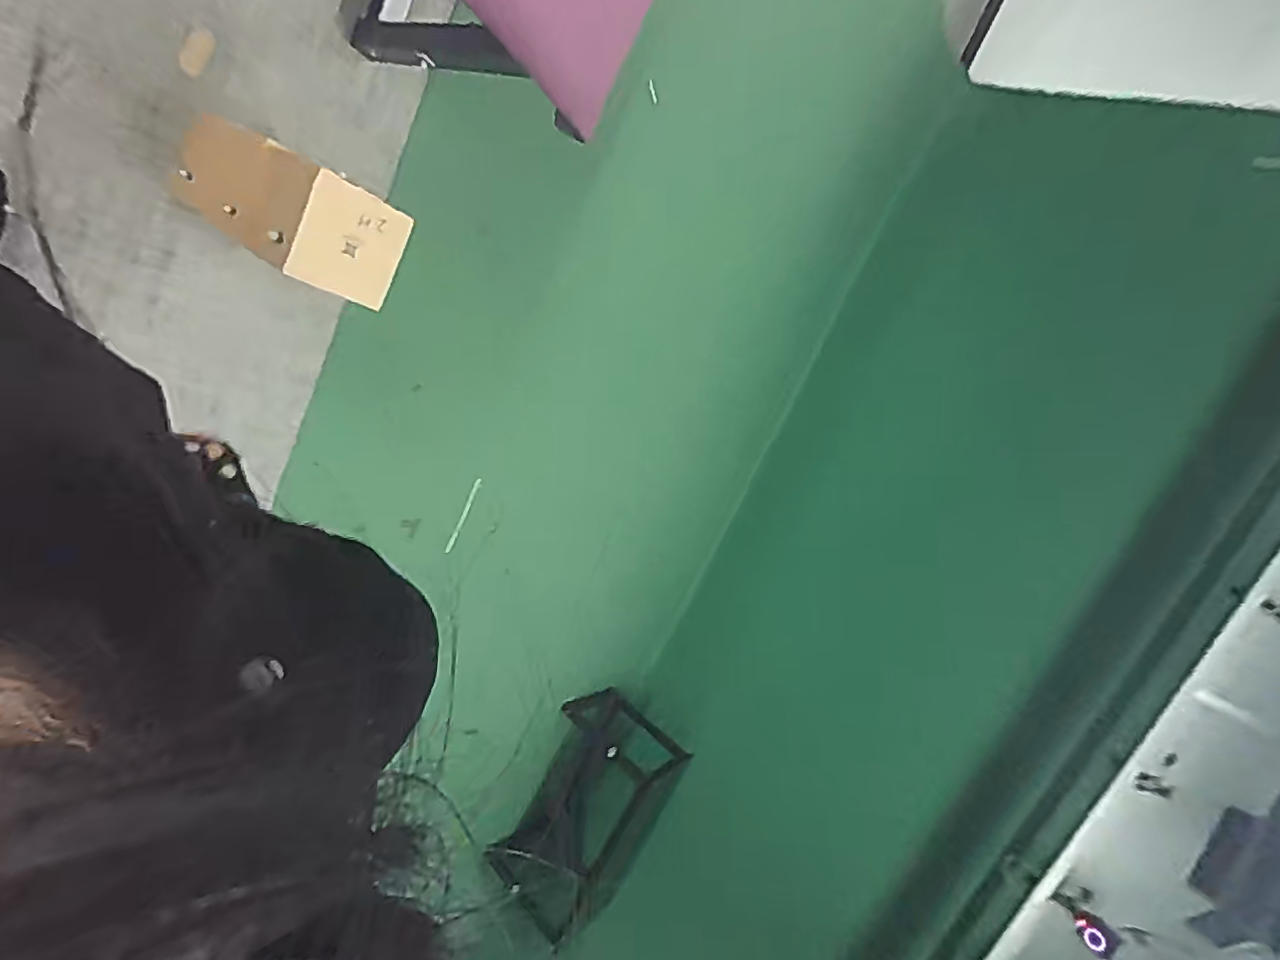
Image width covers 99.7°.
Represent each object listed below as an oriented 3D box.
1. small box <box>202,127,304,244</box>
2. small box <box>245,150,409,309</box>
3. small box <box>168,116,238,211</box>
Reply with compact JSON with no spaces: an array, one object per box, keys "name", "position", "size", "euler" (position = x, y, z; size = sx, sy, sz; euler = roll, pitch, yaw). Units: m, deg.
[{"name":"small box","position":[-0.663,-0.511,0.994],"size":[0.168,0.176,0.179],"euler":[10,110,-59]},{"name":"small box","position":[-0.539,-0.426,0.926],"size":[0.168,0.176,0.179],"euler":[10,109,-59]},{"name":"small box","position":[-0.786,-0.585,1.069],"size":[0.179,0.176,0.168],"euler":[14,105,-60]}]
